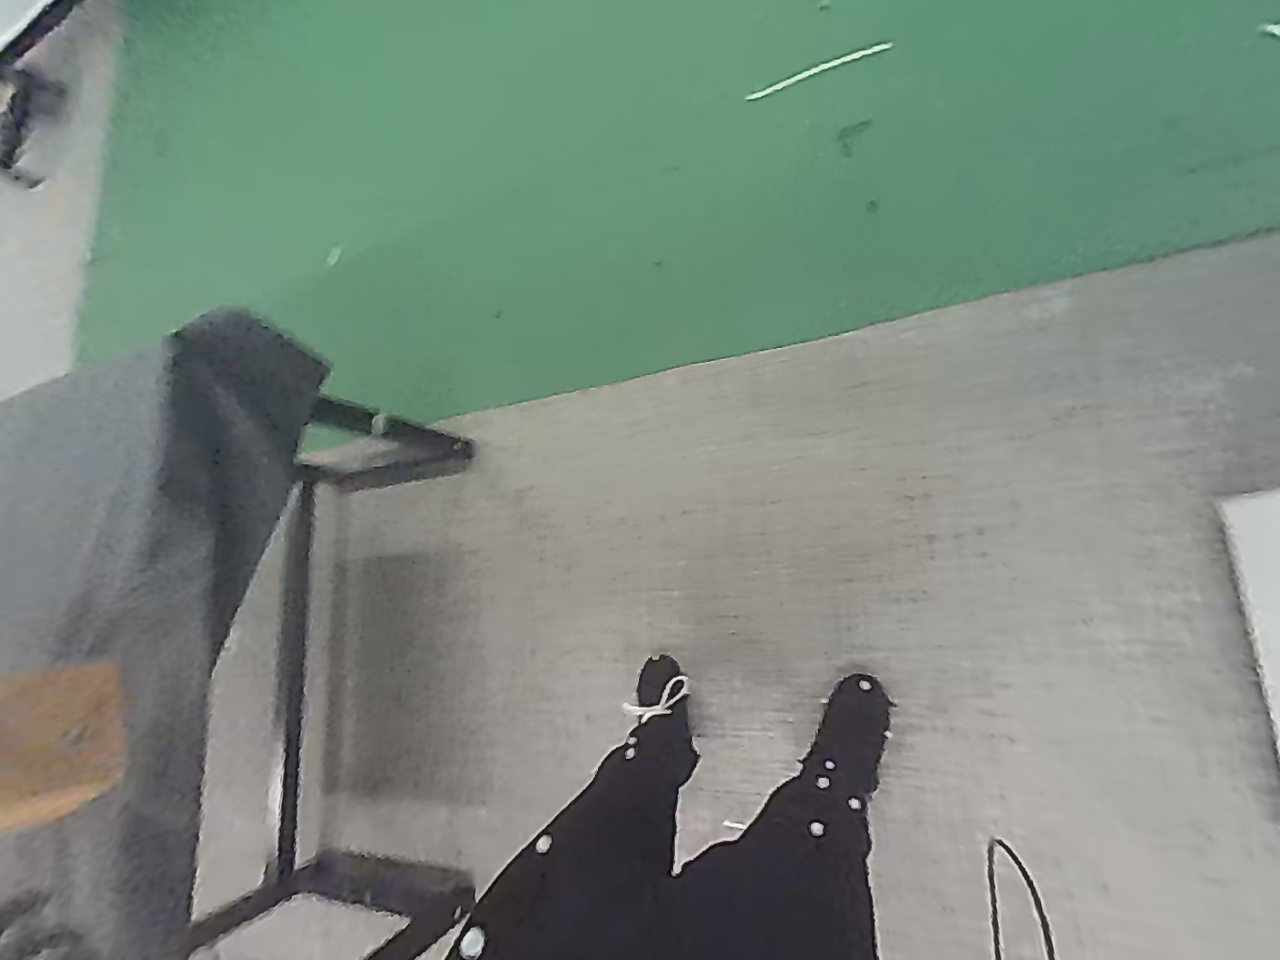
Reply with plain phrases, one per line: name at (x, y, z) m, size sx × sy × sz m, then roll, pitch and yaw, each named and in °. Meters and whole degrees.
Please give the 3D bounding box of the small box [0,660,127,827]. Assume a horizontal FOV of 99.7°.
small box at (-0.828, 0.355, 0.713) m, size 0.179 × 0.176 × 0.168 m, roll -30°, pitch 70°, yaw 17°
